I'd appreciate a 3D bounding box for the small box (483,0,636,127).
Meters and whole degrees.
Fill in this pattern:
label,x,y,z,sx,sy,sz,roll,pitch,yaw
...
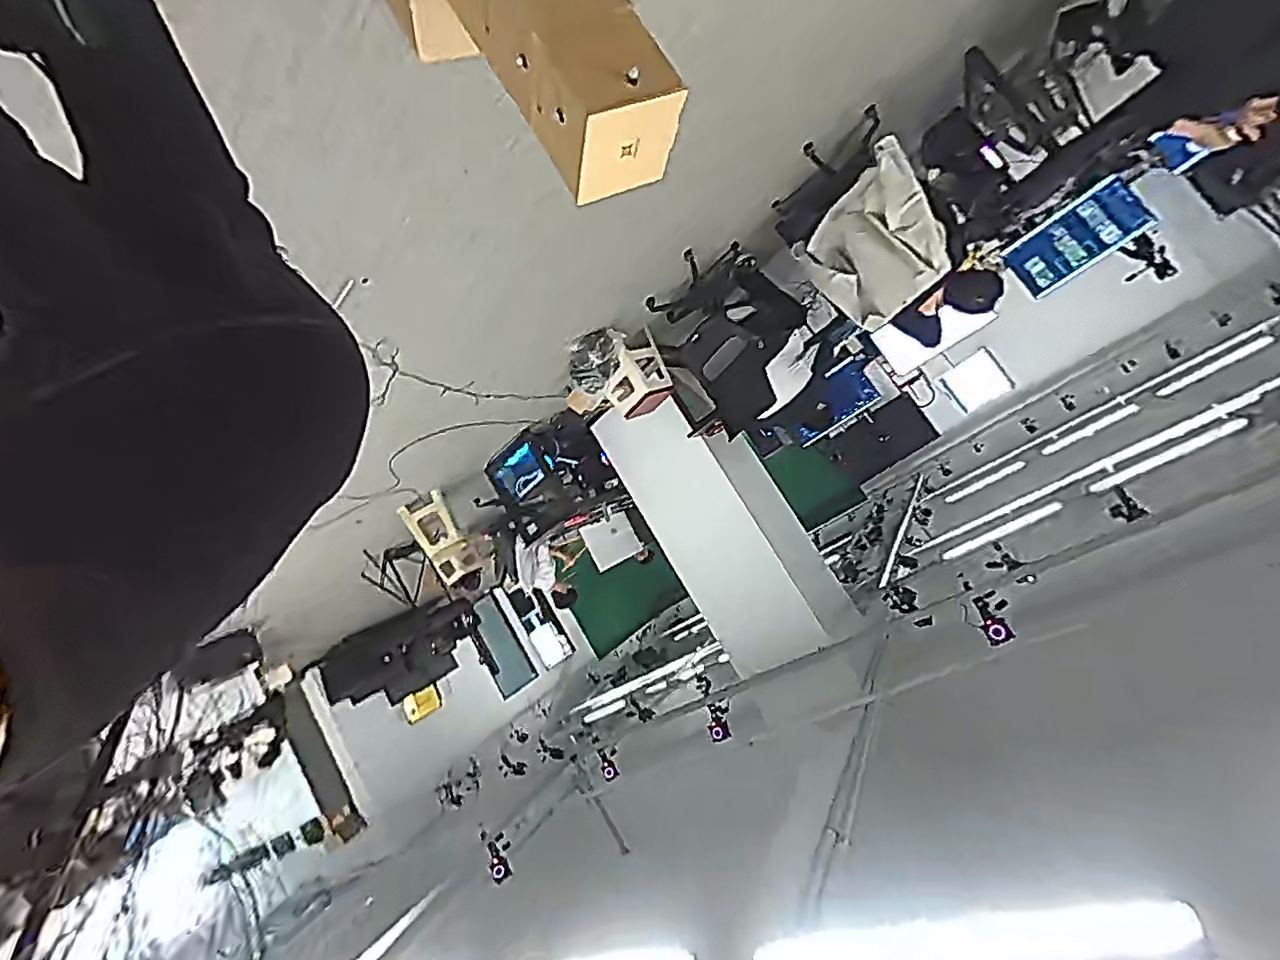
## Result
label,x,y,z,sx,sy,sz,roll,pitch,yaw
small box,-0.135,-0.726,0.876,0.179,0.176,0.168,-29,171,-19

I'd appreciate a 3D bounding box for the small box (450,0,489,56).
label,x,y,z,sx,sy,sz,roll,pitch,yaw
small box,-0.222,-0.863,0.899,0.179,0.176,0.168,-28,171,-18

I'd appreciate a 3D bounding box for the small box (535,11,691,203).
label,x,y,z,sx,sy,sz,roll,pitch,yaw
small box,-0.053,-0.587,0.854,0.179,0.176,0.168,-29,171,-18
